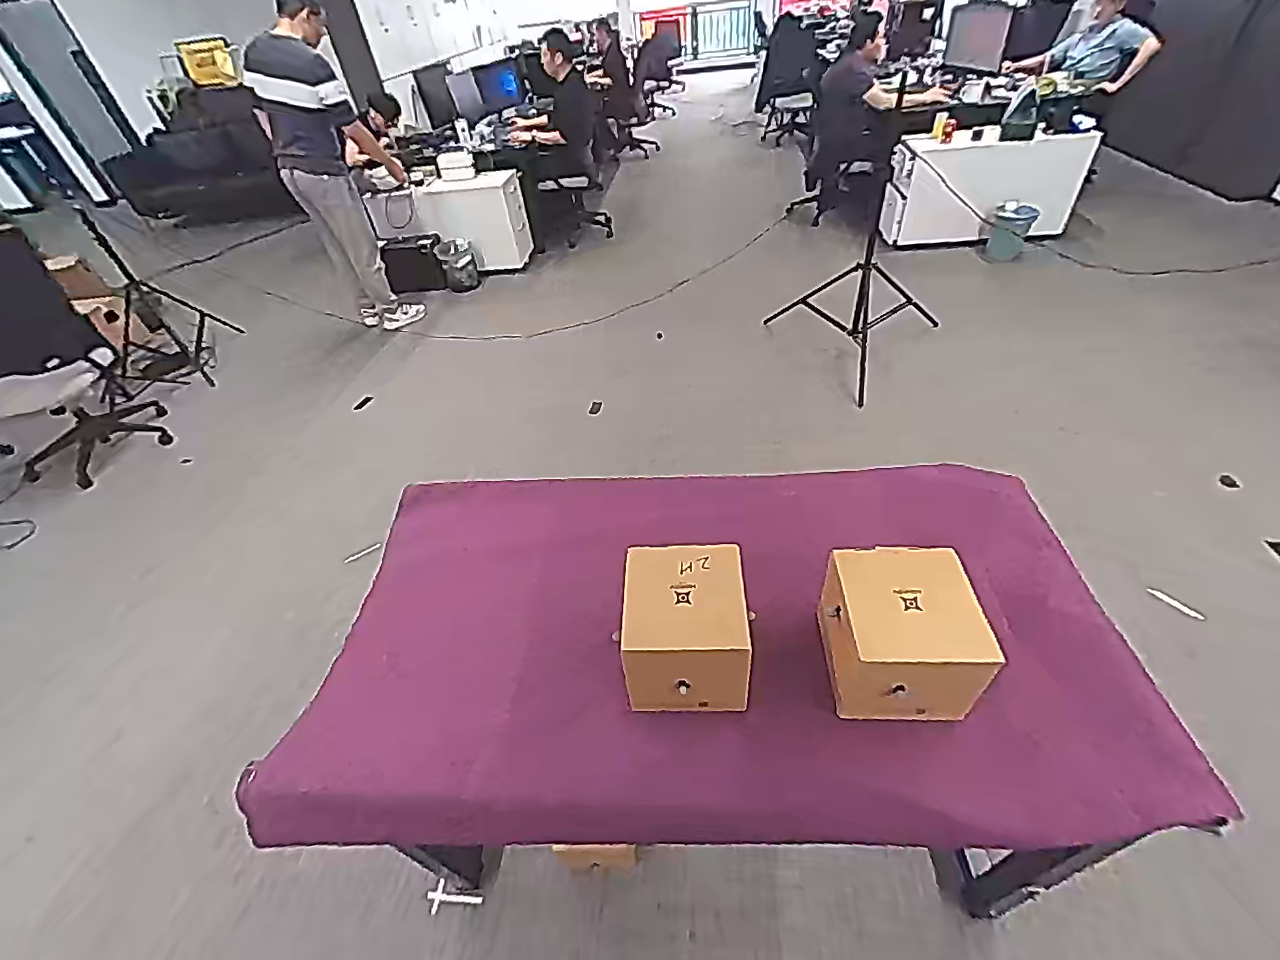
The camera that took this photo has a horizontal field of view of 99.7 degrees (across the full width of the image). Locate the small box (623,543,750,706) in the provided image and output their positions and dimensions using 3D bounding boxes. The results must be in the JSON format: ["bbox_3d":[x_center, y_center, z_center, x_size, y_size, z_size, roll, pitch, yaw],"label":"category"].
[{"bbox_3d":[0.070,0.214,0.796,0.168,0.176,0.179,-2,41,5],"label":"small box"}]

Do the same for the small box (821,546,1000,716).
[{"bbox_3d":[0.359,0.214,0.757,0.168,0.176,0.179,-2,43,6],"label":"small box"}]
